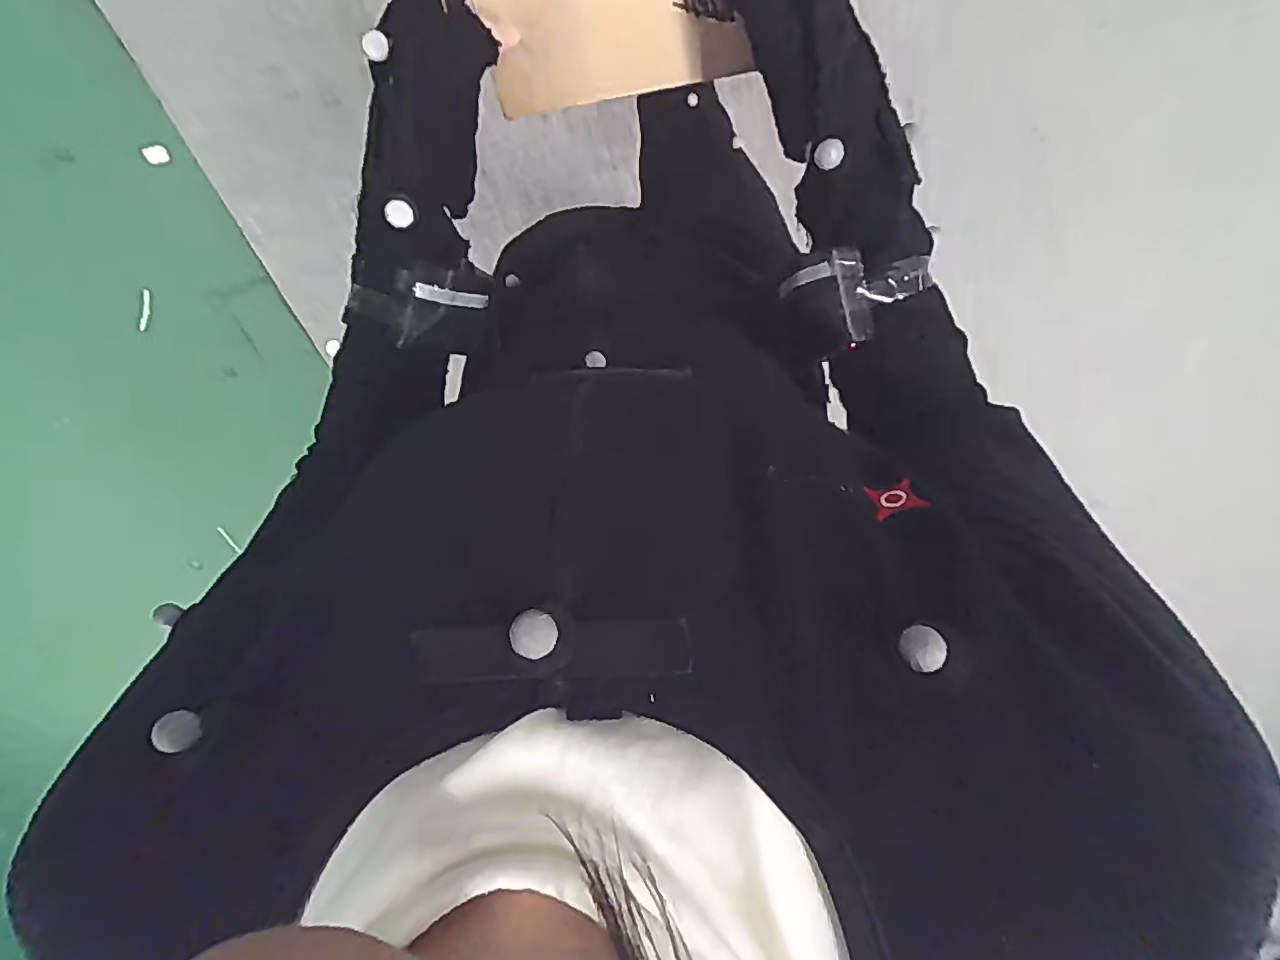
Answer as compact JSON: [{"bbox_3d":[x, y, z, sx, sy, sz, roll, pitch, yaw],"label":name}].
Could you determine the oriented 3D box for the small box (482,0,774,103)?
[{"bbox_3d":[-0.019,-0.372,0.342,0.179,0.176,0.168,-9,139,3],"label":"small box"}]
